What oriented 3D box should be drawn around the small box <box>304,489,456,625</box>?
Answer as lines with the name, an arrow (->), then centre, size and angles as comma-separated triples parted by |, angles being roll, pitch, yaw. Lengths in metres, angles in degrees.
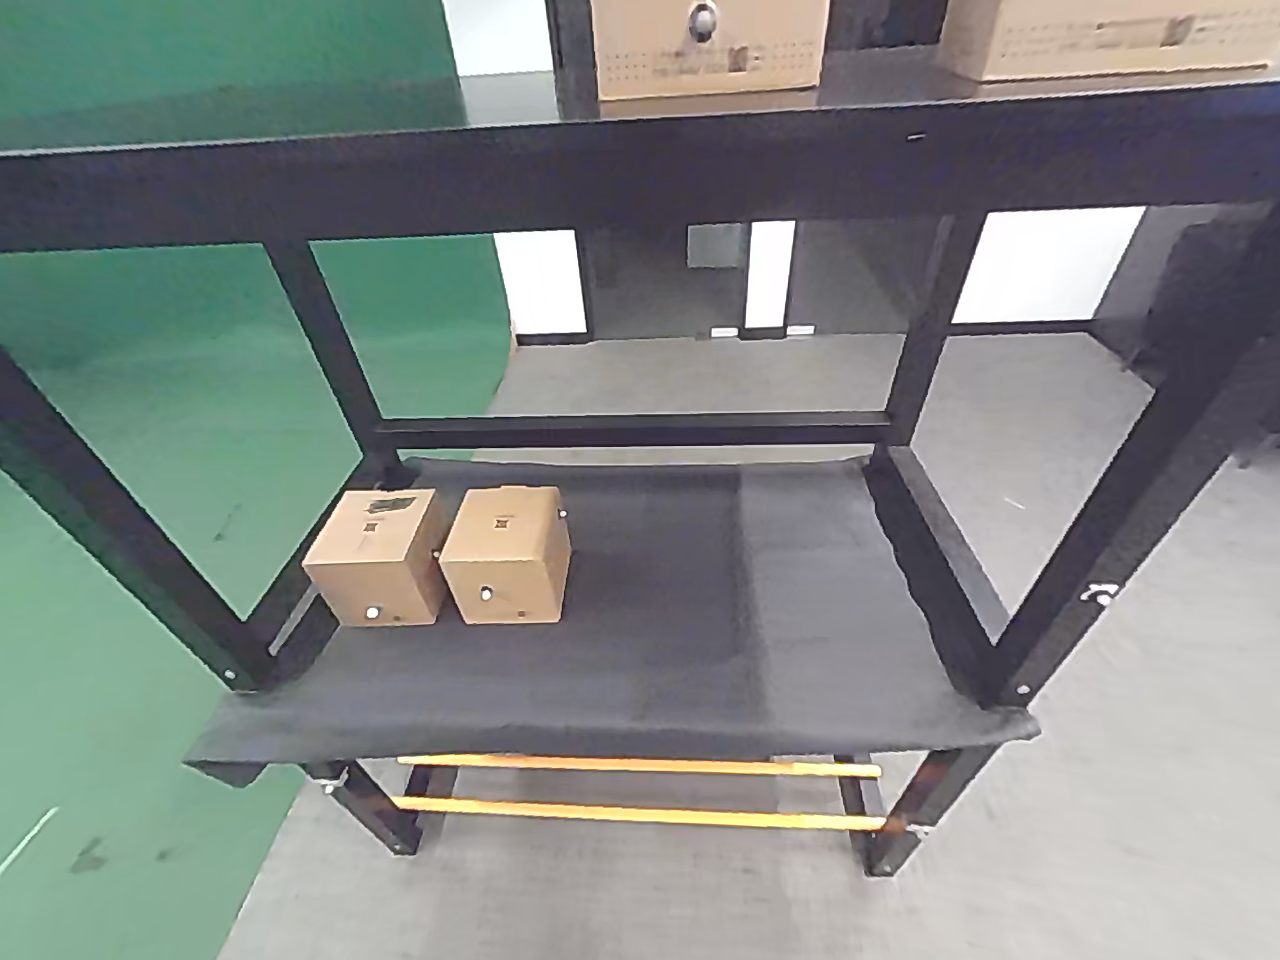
small box -> -0.442, 0.134, 0.957 | 0.168, 0.176, 0.179 | -2, 40, 3

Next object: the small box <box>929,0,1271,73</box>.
small box -> 0.313, -0.382, 0.361 | 0.168, 0.176, 0.179 | 6, 40, 12
